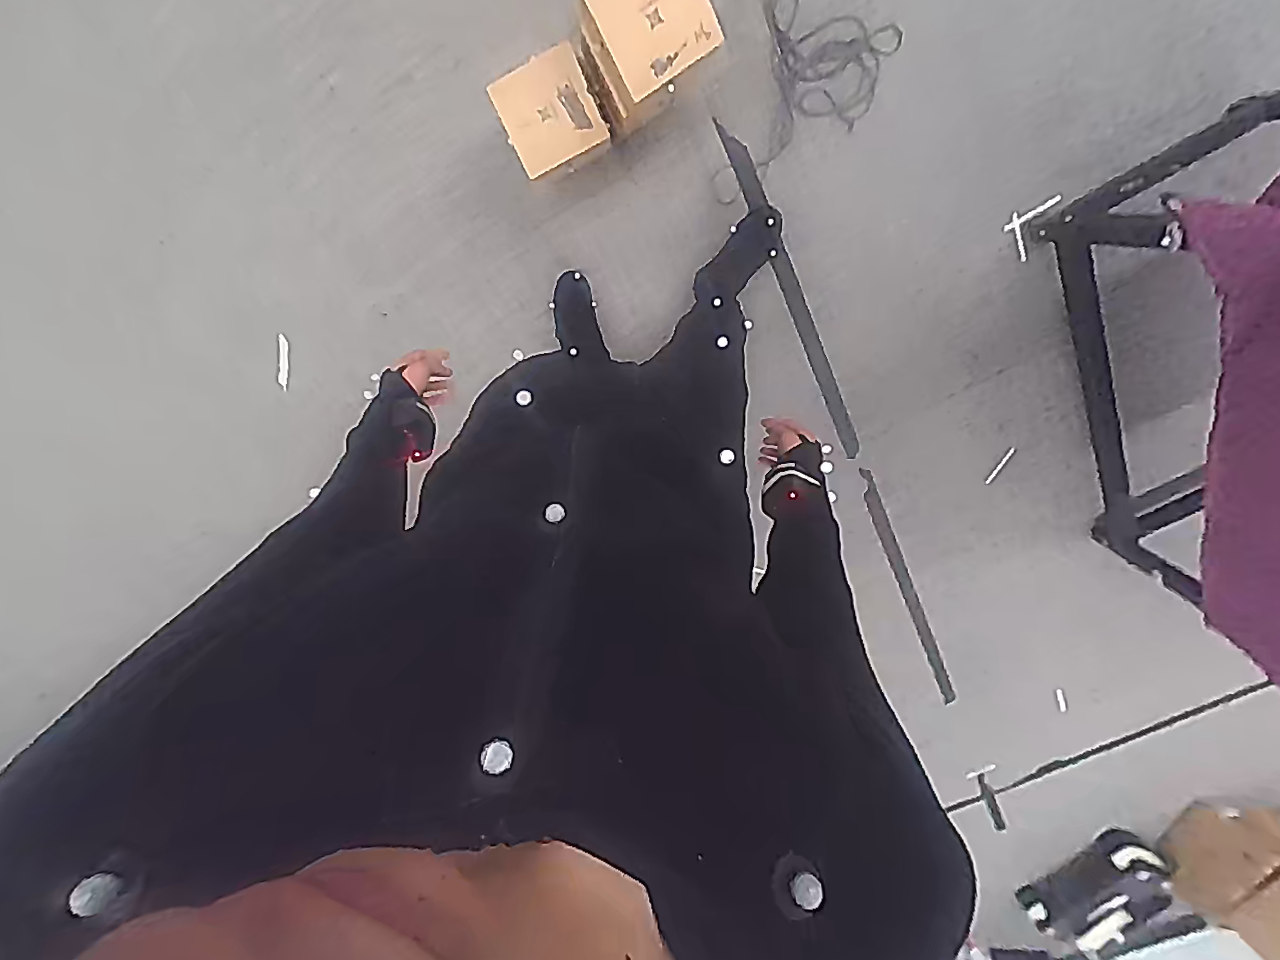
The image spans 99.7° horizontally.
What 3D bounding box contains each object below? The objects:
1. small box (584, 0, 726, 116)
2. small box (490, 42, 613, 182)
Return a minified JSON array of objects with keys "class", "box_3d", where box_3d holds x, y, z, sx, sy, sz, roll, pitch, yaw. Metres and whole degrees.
[{"class":"small box","box_3d":[0.018,-0.734,0.877,0.168,0.176,0.179,-28,114,12]},{"class":"small box","box_3d":[-0.165,-0.710,1.064,0.179,0.176,0.168,-22,115,10]}]
